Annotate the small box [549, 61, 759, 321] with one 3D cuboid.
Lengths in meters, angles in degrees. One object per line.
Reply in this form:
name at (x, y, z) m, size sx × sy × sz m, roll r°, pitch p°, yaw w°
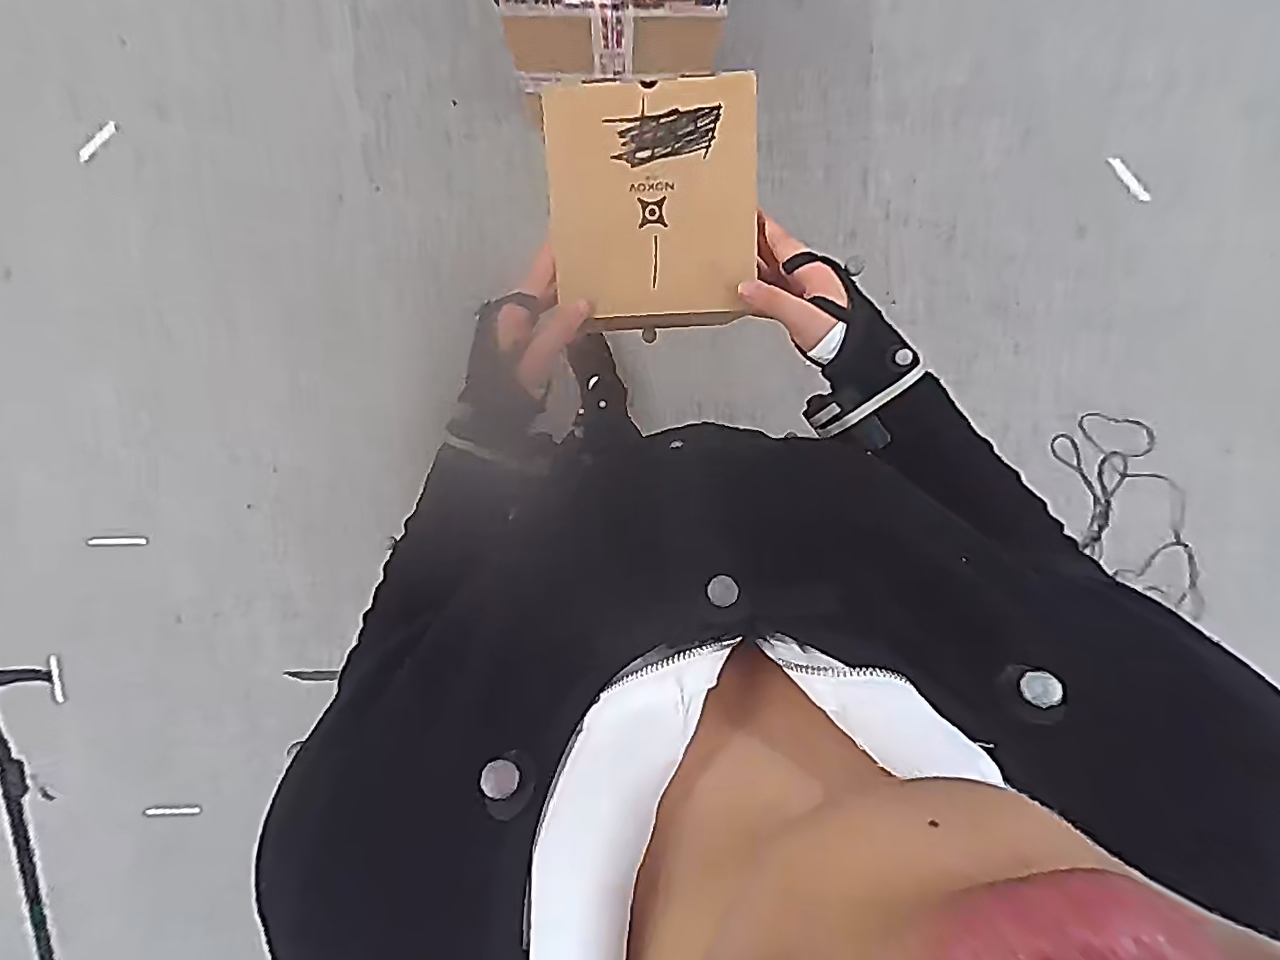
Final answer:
small box at (0.012, -0.250, 0.508) m, size 0.168 × 0.176 × 0.179 m, roll -2°, pitch 102°, yaw 0°
